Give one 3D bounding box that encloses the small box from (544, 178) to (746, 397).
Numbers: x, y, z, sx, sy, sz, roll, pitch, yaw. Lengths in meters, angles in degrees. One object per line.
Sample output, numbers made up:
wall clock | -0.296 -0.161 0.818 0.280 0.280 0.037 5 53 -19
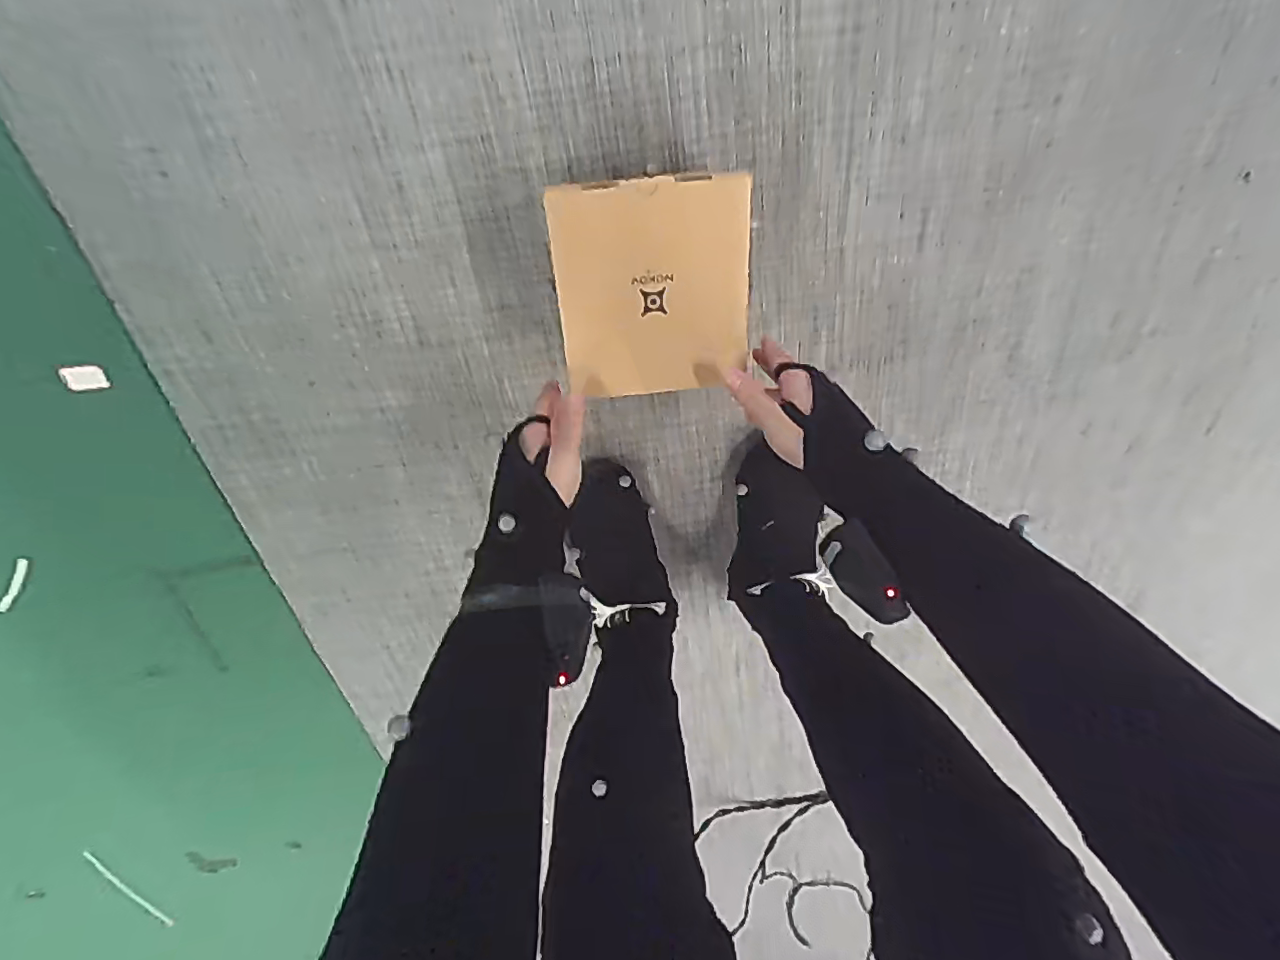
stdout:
small box | 0.006 -0.199 0.543 0.168 0.176 0.179 -6 118 -1
